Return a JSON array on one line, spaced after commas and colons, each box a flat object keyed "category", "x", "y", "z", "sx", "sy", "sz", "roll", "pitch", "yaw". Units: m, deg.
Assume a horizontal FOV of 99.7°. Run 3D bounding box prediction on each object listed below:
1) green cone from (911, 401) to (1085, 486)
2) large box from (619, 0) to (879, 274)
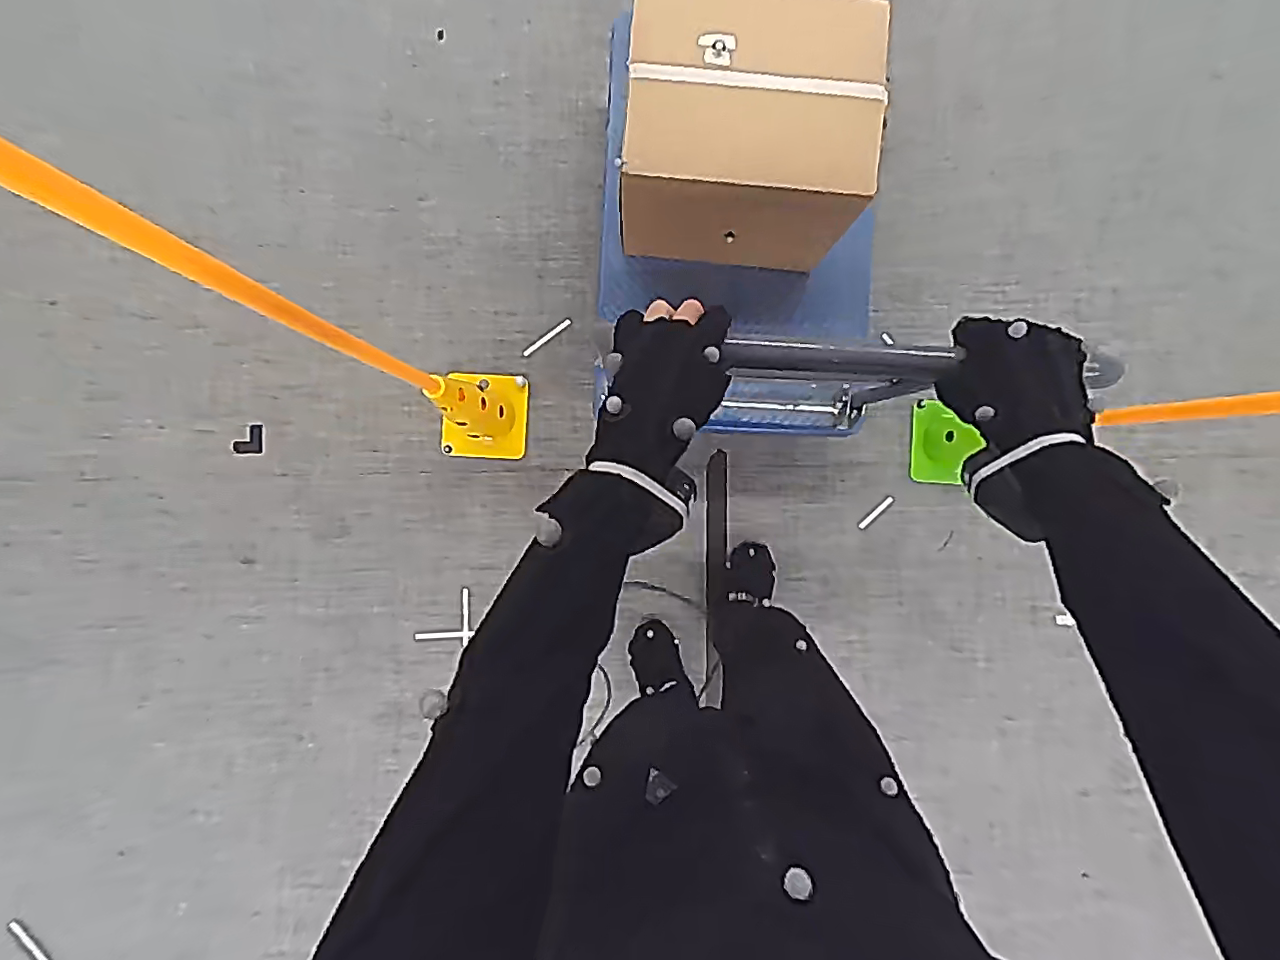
[{"category": "green cone", "x": 0.765, "y": -0.094, "z": 1.143, "sx": 0.202, "sy": 0.368, "sz": 0.200, "roll": 3, "pitch": 88, "yaw": -2}, {"category": "large box", "x": 0.176, "y": -0.601, "z": 1.009, "sx": 0.408, "sy": 0.320, "sz": 0.320, "roll": 5, "pitch": 89, "yaw": 0}]
